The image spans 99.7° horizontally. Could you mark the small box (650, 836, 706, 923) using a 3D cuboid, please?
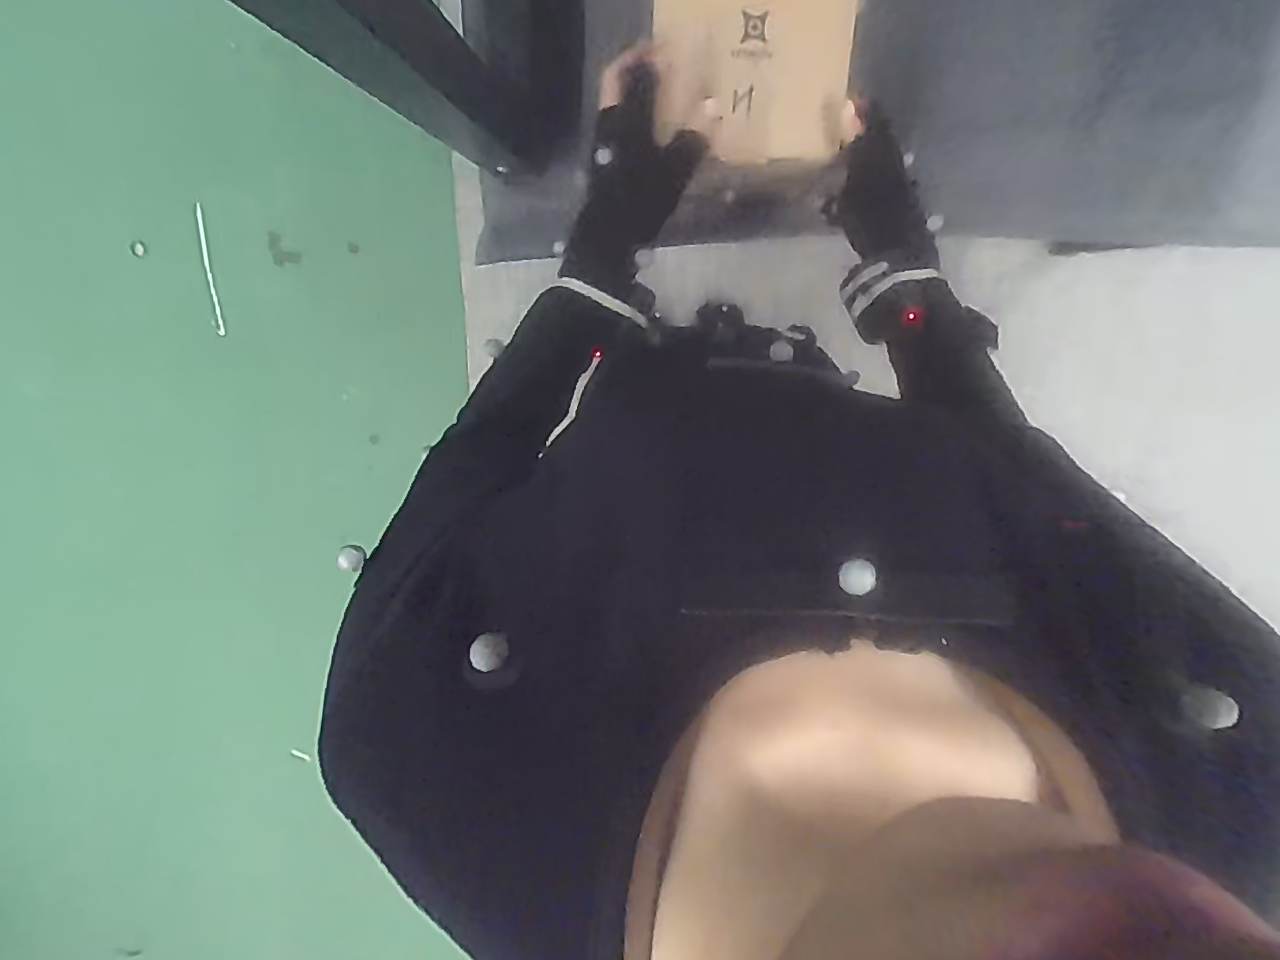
[{"bbox_3d":[0.130,1.389,1.888,0.168,0.176,0.179,10,110,1],"label":"small box"}]

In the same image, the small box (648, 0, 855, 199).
[{"bbox_3d":[0.094,-0.387,0.520,0.168,0.176,0.179,3,108,3],"label":"small box"}]
